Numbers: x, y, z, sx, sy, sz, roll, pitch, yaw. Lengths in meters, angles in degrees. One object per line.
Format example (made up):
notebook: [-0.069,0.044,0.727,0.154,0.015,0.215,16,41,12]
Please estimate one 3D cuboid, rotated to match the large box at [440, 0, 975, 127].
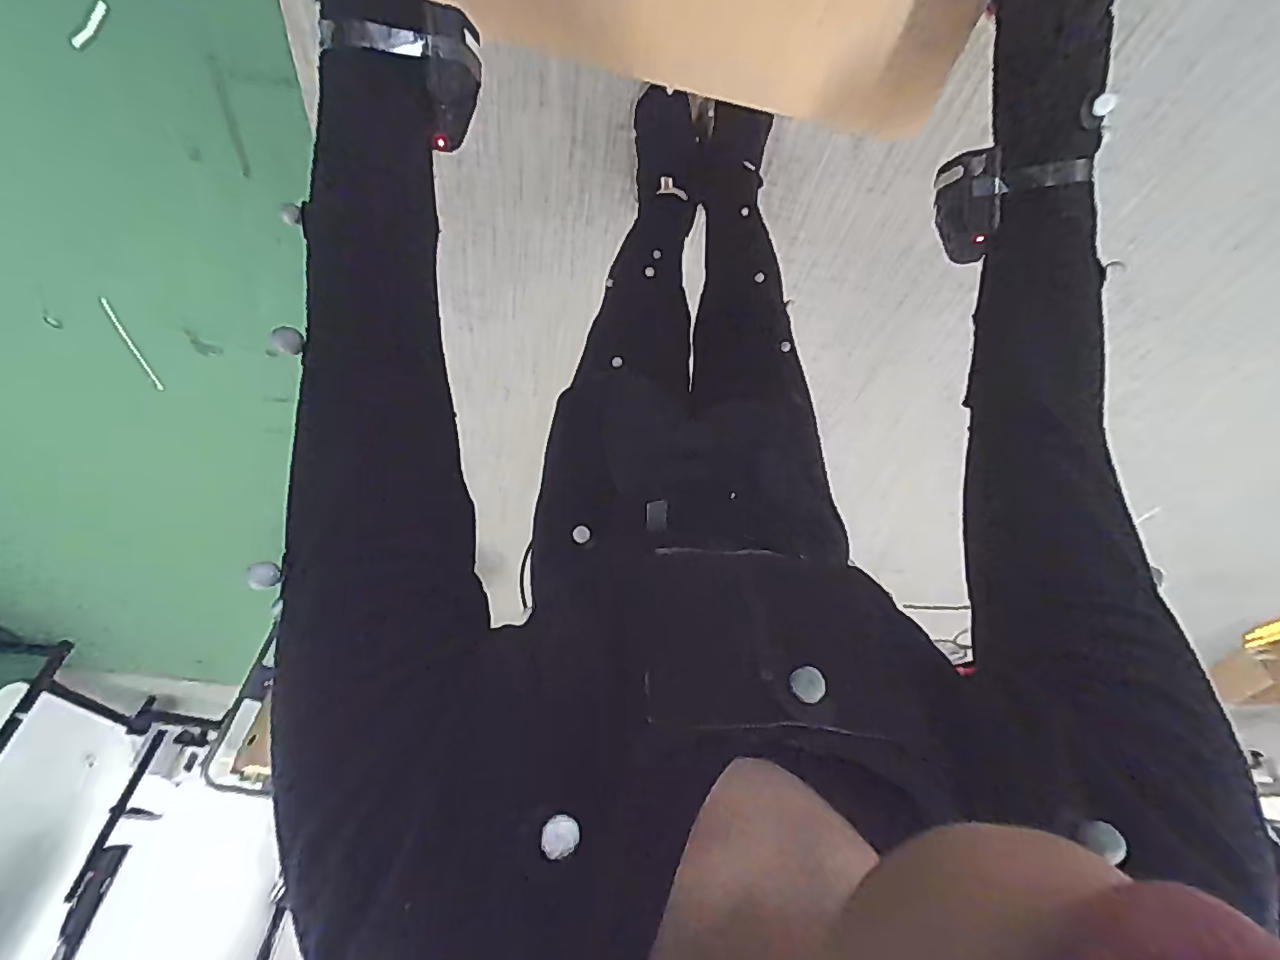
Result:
large box: [0.070,-0.538,0.430,0.408,0.320,0.320,9,137,-8]
